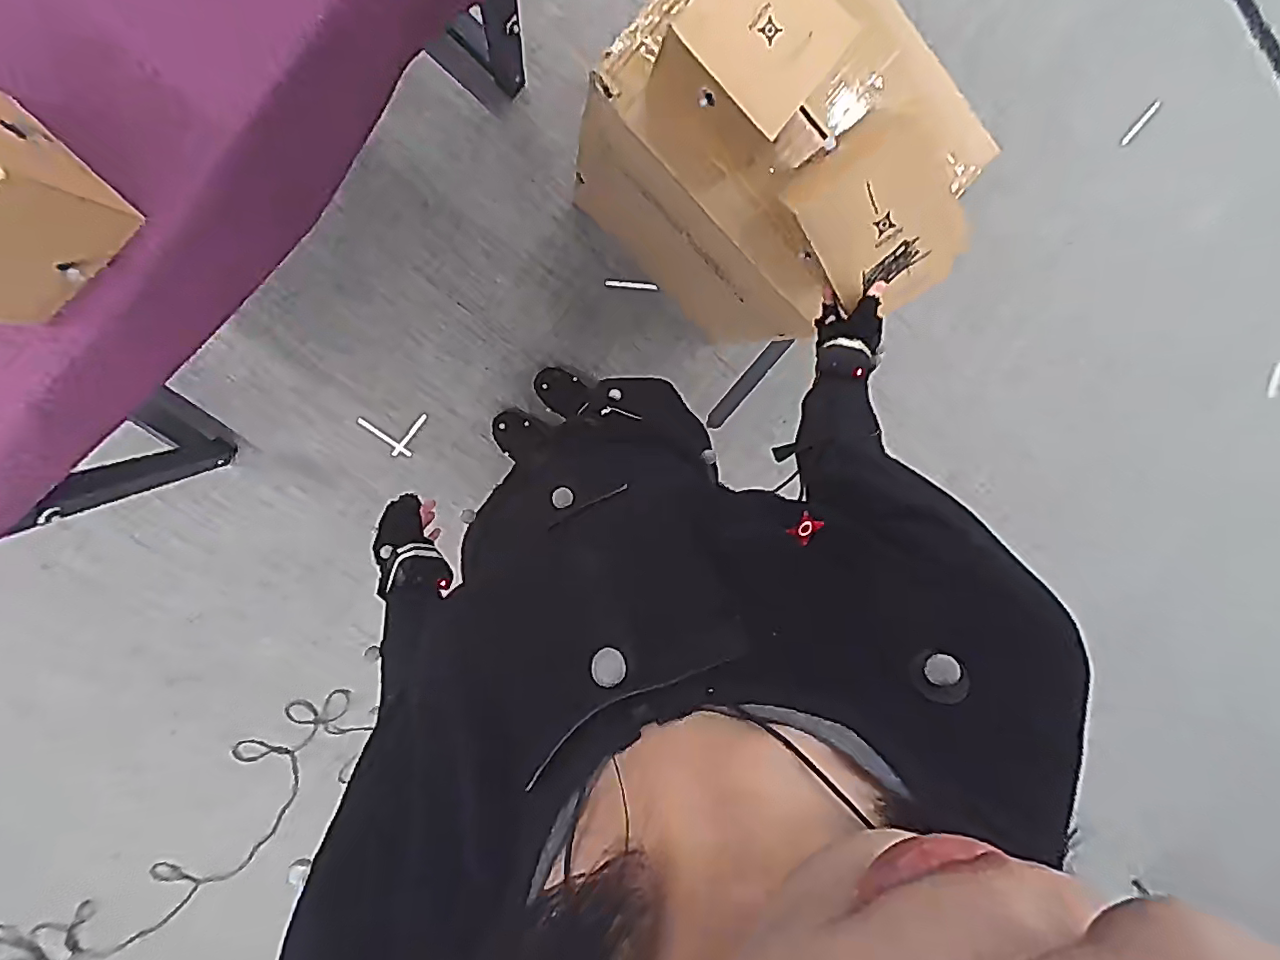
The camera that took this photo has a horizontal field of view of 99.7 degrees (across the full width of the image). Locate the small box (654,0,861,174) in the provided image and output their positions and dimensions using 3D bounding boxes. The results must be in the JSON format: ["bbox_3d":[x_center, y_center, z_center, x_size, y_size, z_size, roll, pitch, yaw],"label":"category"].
[{"bbox_3d":[0.139,-0.544,0.707,0.179,0.176,0.168,38,96,-15],"label":"small box"}]

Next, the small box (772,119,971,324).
[{"bbox_3d":[0.301,-0.351,0.730,0.168,0.176,0.179,-32,121,21],"label":"small box"}]

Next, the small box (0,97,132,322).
[{"bbox_3d":[-0.661,-0.276,0.521,0.179,0.176,0.168,-44,104,1],"label":"small box"}]
